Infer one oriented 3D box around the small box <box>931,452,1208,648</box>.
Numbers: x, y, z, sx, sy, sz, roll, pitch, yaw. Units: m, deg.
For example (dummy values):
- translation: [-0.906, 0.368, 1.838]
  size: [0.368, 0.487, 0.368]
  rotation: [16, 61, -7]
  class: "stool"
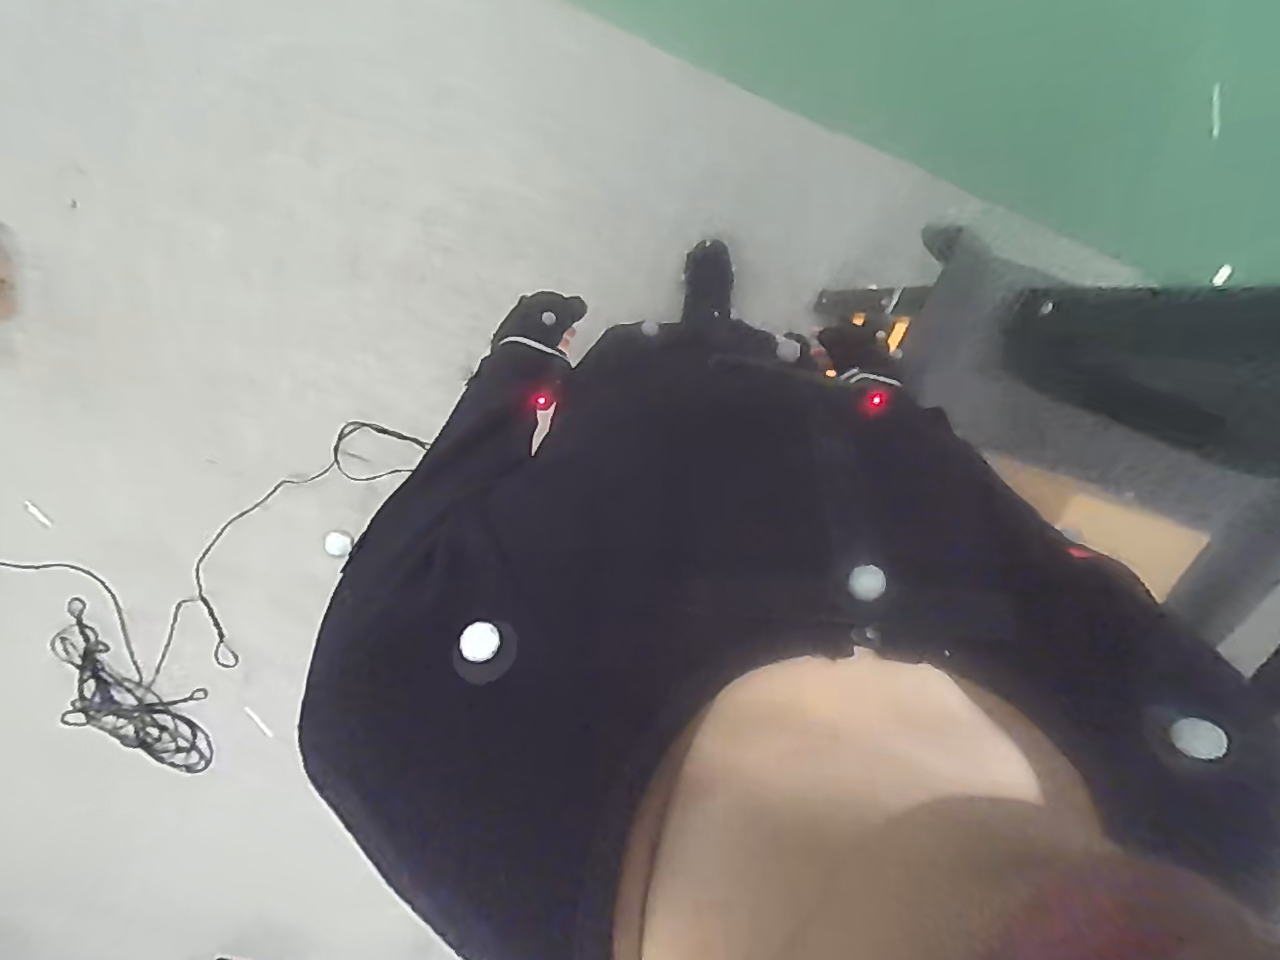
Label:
- translation: [0.520, 0.078, 0.686]
  size: [0.179, 0.176, 0.168]
  rotation: [17, 108, -6]
  class: "small box"
